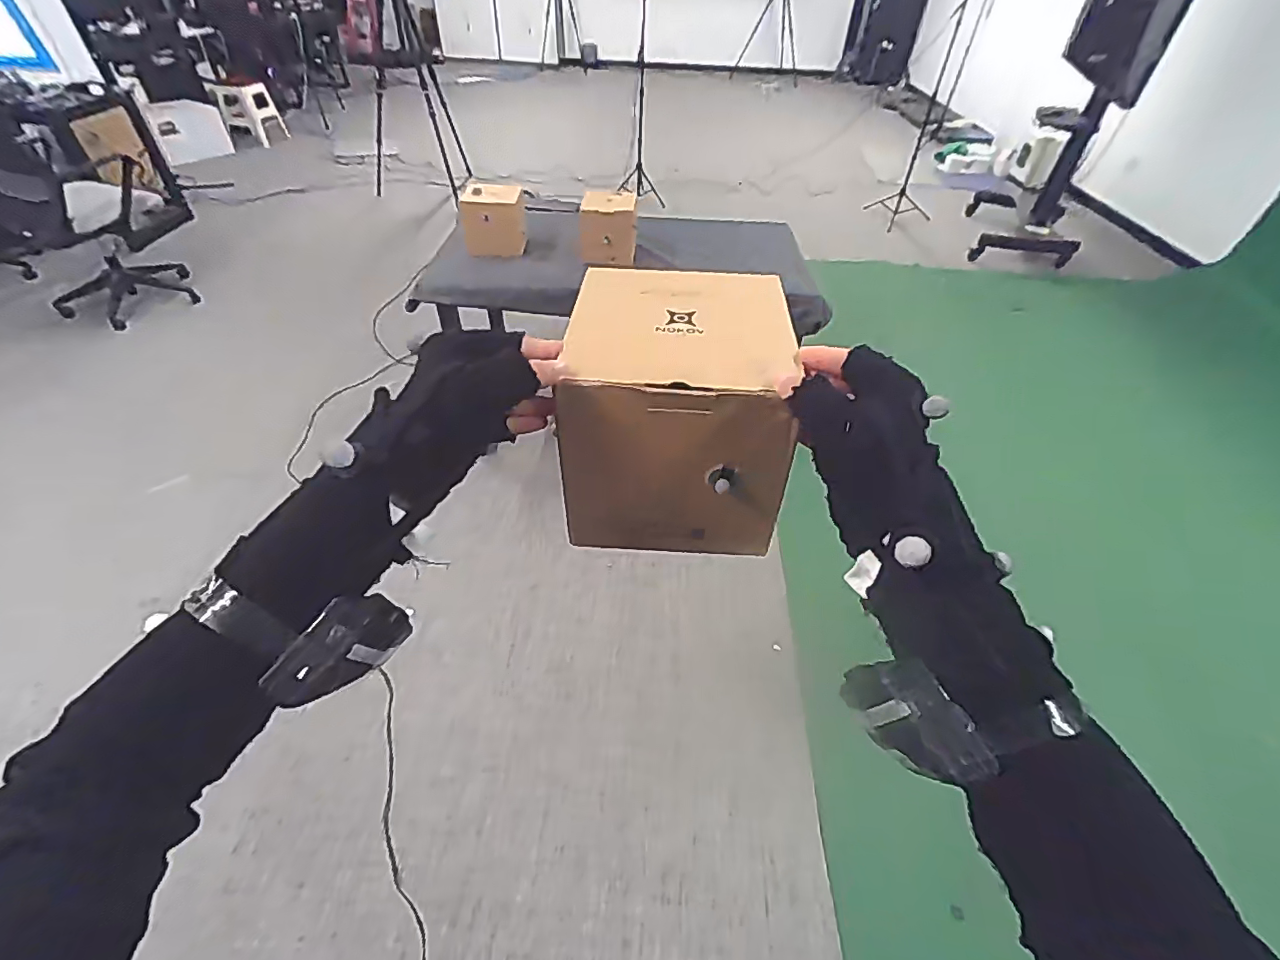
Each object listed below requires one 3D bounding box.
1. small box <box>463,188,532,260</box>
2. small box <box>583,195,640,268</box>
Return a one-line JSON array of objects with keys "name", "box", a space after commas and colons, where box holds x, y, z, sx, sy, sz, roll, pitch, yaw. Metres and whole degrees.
[{"name": "small box", "box": [-0.457, -0.833, 1.760, 0.179, 0.176, 0.168, 2, 45, -3]}, {"name": "small box", "box": [-0.088, -0.805, 1.753, 0.168, 0.176, 0.179, 4, 45, 1]}]
